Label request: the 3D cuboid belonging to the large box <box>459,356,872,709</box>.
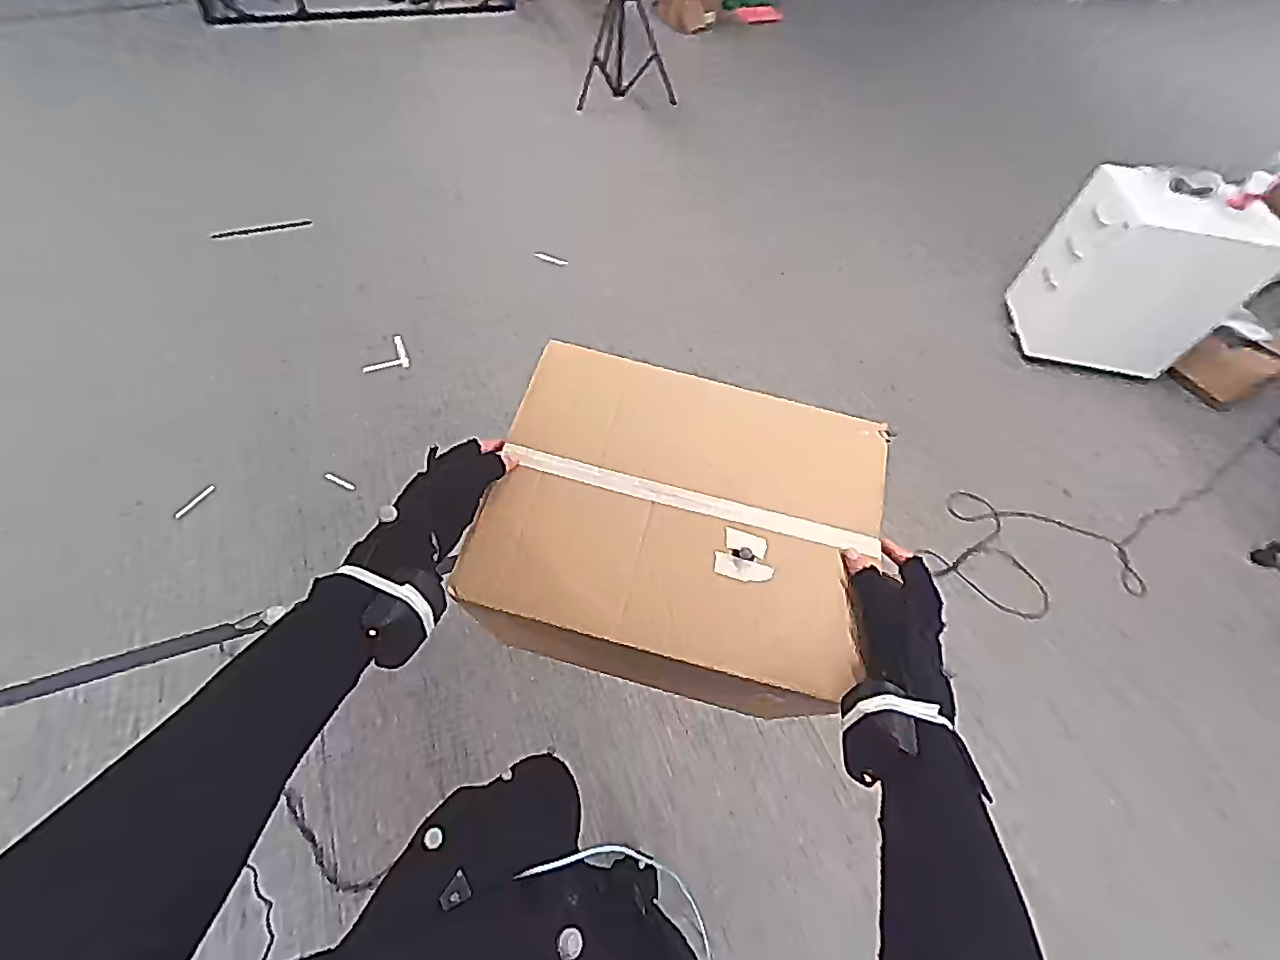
[{"bbox_3d":[0.035,0.091,0.715,0.408,0.320,0.320,15,66,2],"label":"large box"}]
